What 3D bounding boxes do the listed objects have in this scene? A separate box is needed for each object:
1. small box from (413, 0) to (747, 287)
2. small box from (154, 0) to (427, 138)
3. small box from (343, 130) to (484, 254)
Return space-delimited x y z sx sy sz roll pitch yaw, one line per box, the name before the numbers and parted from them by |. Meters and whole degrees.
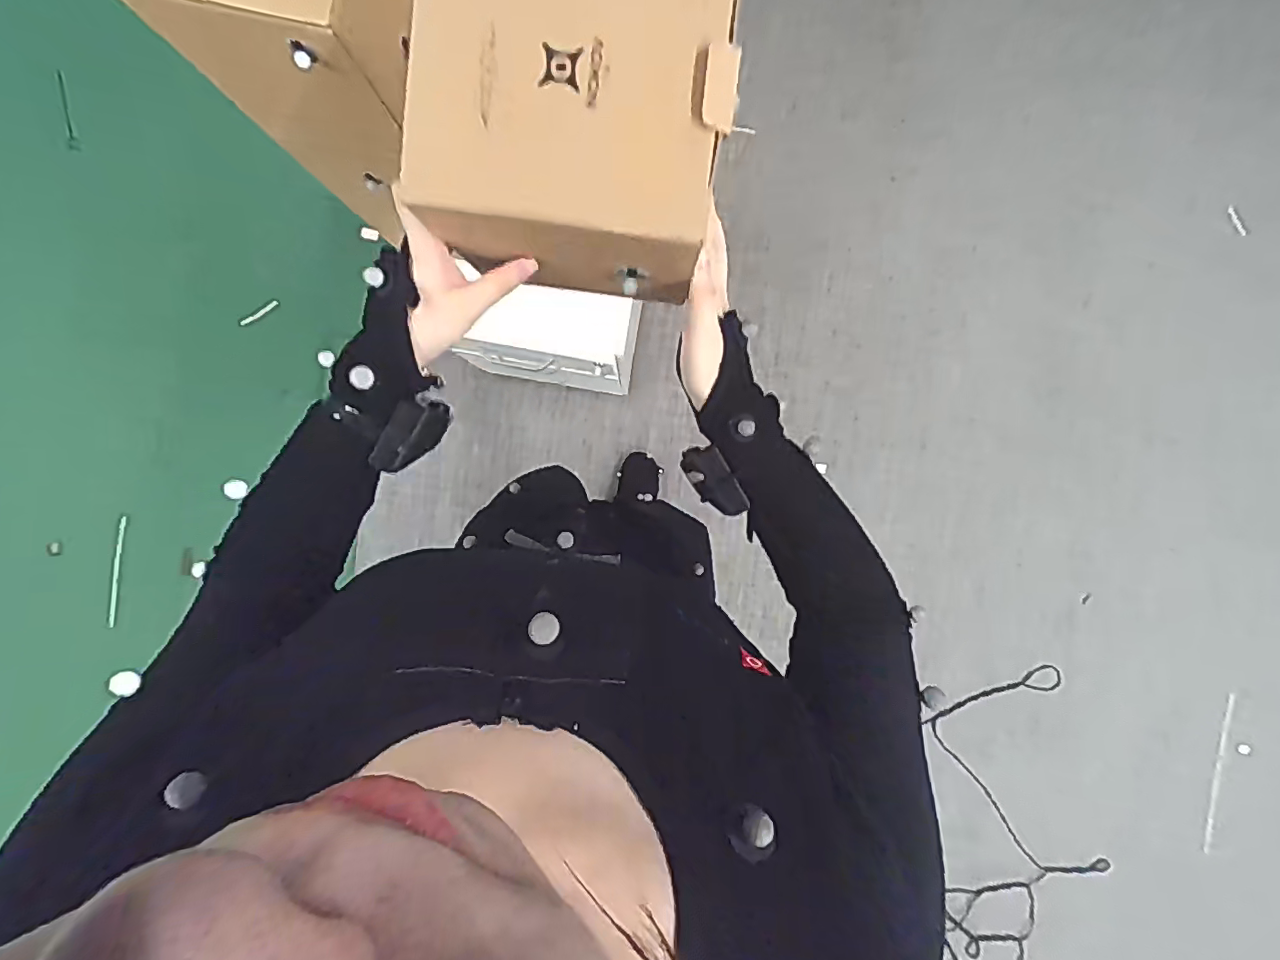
small box | -0.033 -0.244 0.379 0.179 0.176 0.168 7 96 0
small box | -0.297 -0.442 0.480 0.179 0.176 0.168 10 92 -3
small box | -0.305 -0.459 0.808 0.179 0.176 0.168 10 93 -4
